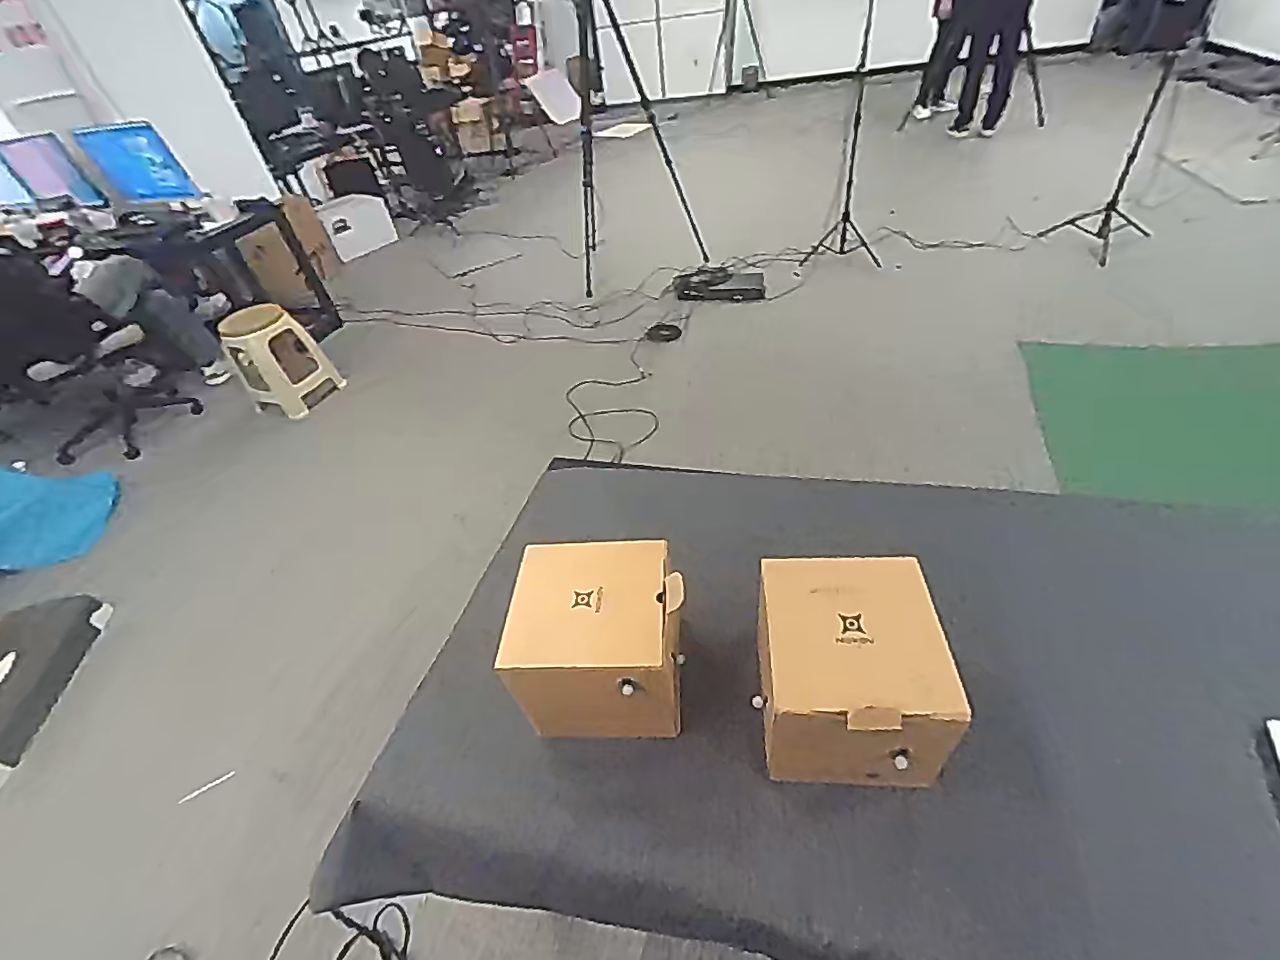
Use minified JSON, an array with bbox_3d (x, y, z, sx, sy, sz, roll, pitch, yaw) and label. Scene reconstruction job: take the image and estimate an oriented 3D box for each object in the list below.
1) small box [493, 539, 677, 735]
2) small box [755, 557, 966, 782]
[{"bbox_3d":[-0.050,0.189,0.647,0.179,0.176,0.168,-3,42,6],"label":"small box"},{"bbox_3d":[0.214,0.203,0.582,0.168,0.176,0.179,-2,41,8],"label":"small box"}]
